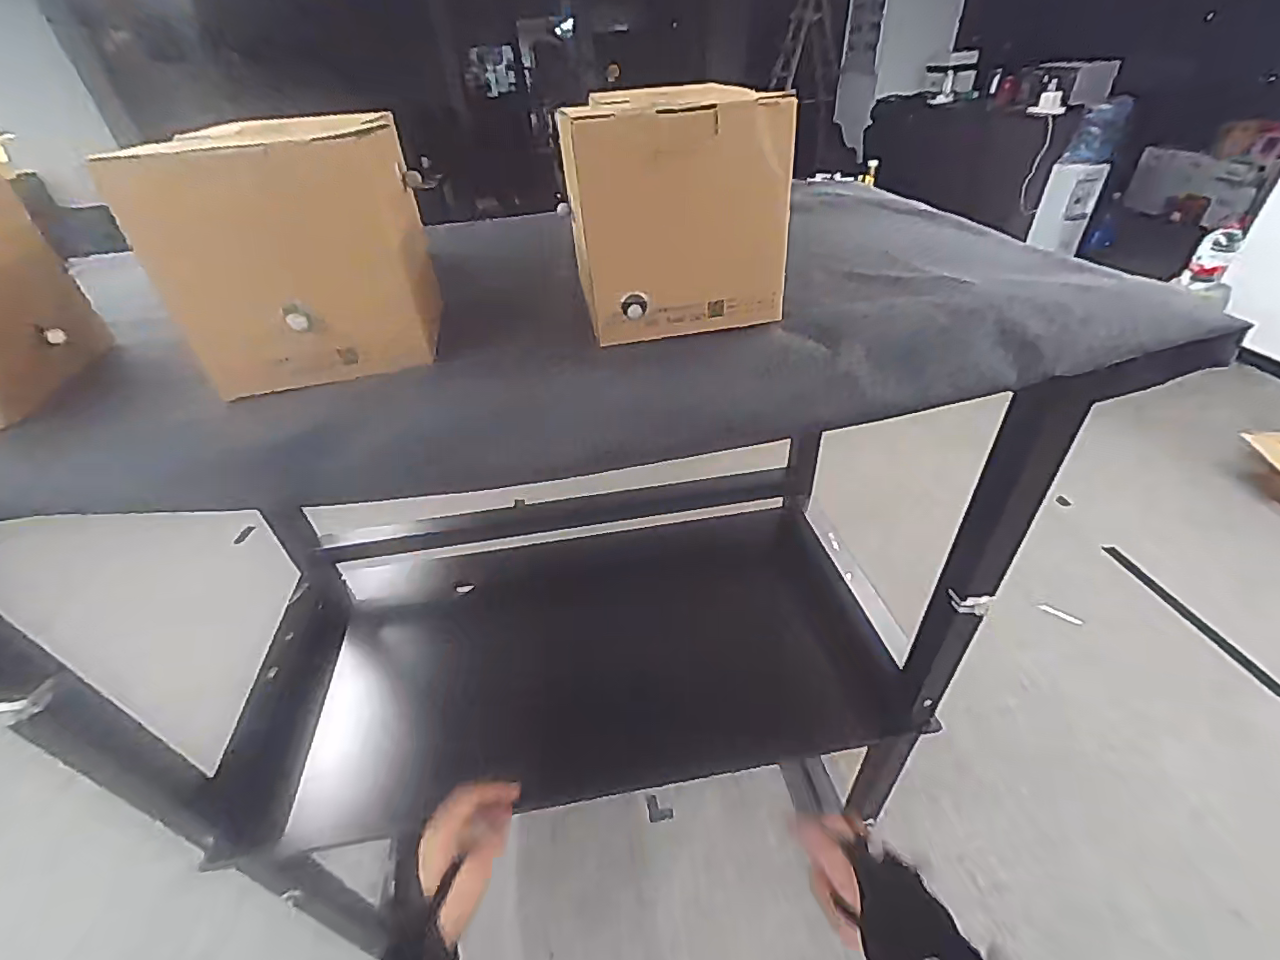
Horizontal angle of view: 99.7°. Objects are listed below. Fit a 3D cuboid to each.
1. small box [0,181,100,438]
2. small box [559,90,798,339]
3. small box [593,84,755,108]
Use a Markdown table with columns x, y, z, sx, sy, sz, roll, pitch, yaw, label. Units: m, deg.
| x | y | z | sx | sy | sz | roll | pitch | yaw | label |
| --- | --- | --- | --- | --- | --- | --- | --- | --- | --- |
| -0.581 | -0.128 | 0.410 | 0.168 | 0.176 | 0.179 | -13 | 39 | -10 | small box |
| 0.026 | -0.235 | 0.485 | 0.168 | 0.176 | 0.179 | -10 | 37 | -6 | small box |
| 0.035 | -0.376 | 0.666 | 0.168 | 0.176 | 0.179 | -8 | 39 | -5 | small box |
